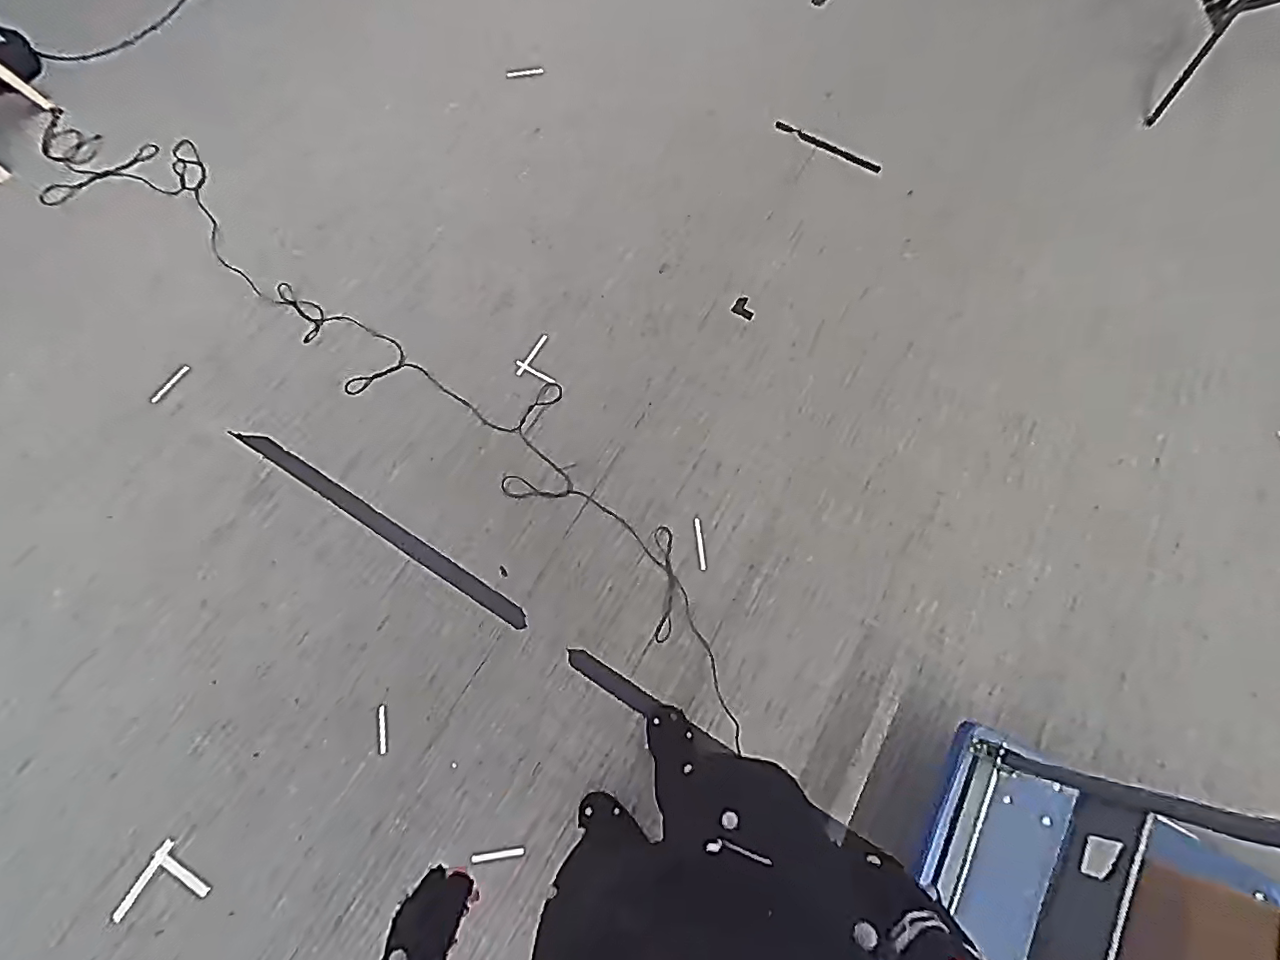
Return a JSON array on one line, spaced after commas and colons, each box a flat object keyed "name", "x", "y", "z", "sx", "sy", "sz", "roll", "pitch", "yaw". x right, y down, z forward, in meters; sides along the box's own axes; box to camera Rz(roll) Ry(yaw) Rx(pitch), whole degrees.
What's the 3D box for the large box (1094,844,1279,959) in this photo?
[{"name": "large box", "x": 0.980, "y": 0.888, "z": 0.843, "sx": 0.320, "sy": 0.320, "sz": 0.408, "roll": 20, "pitch": 74, "yaw": 9}]
